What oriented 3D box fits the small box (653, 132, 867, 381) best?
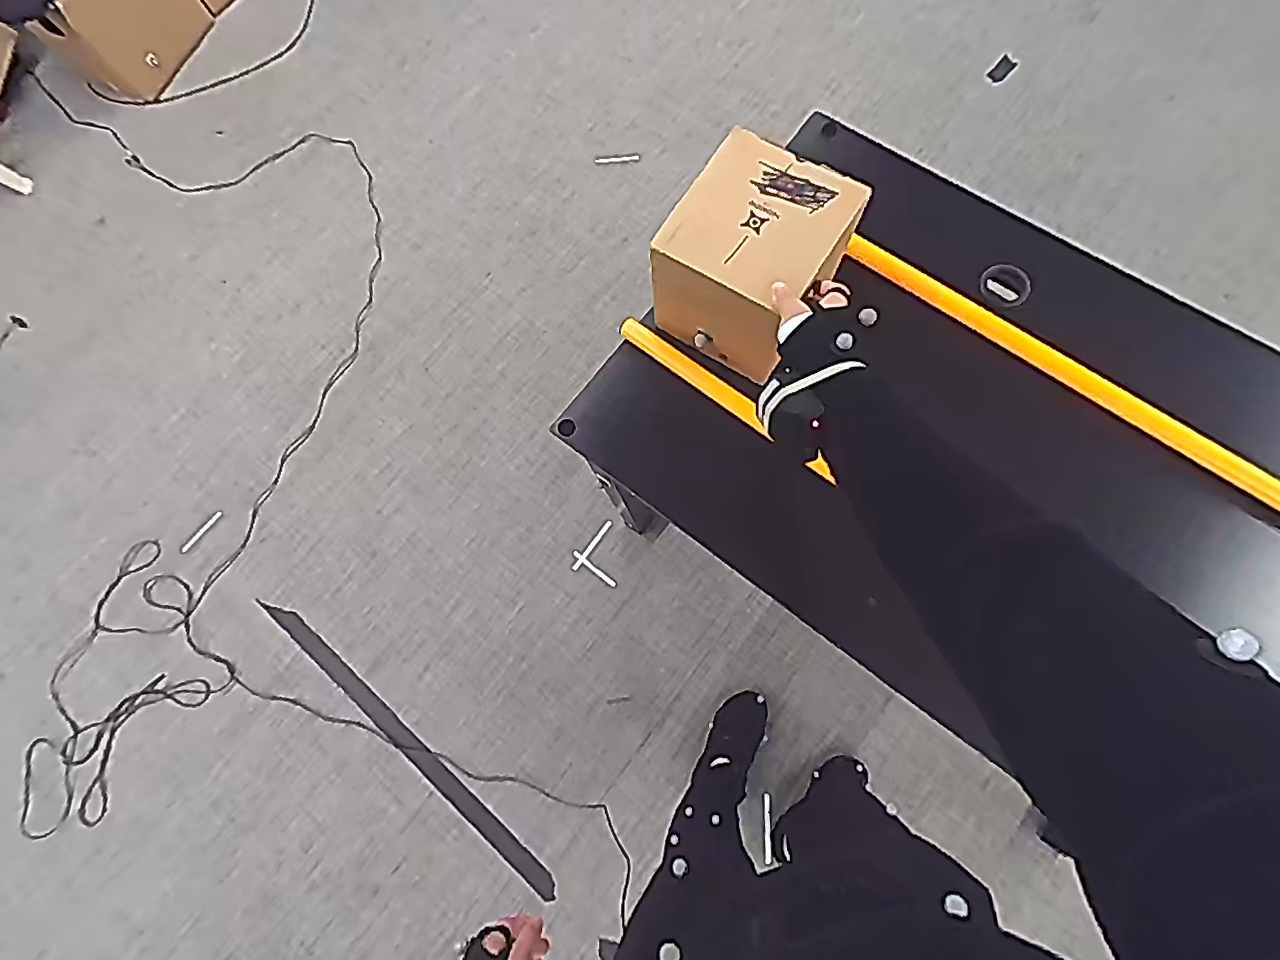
[{"bbox_3d":[0.130,-0.252,0.643,0.168,0.176,0.179,32,81,11],"label":"small box"}]
